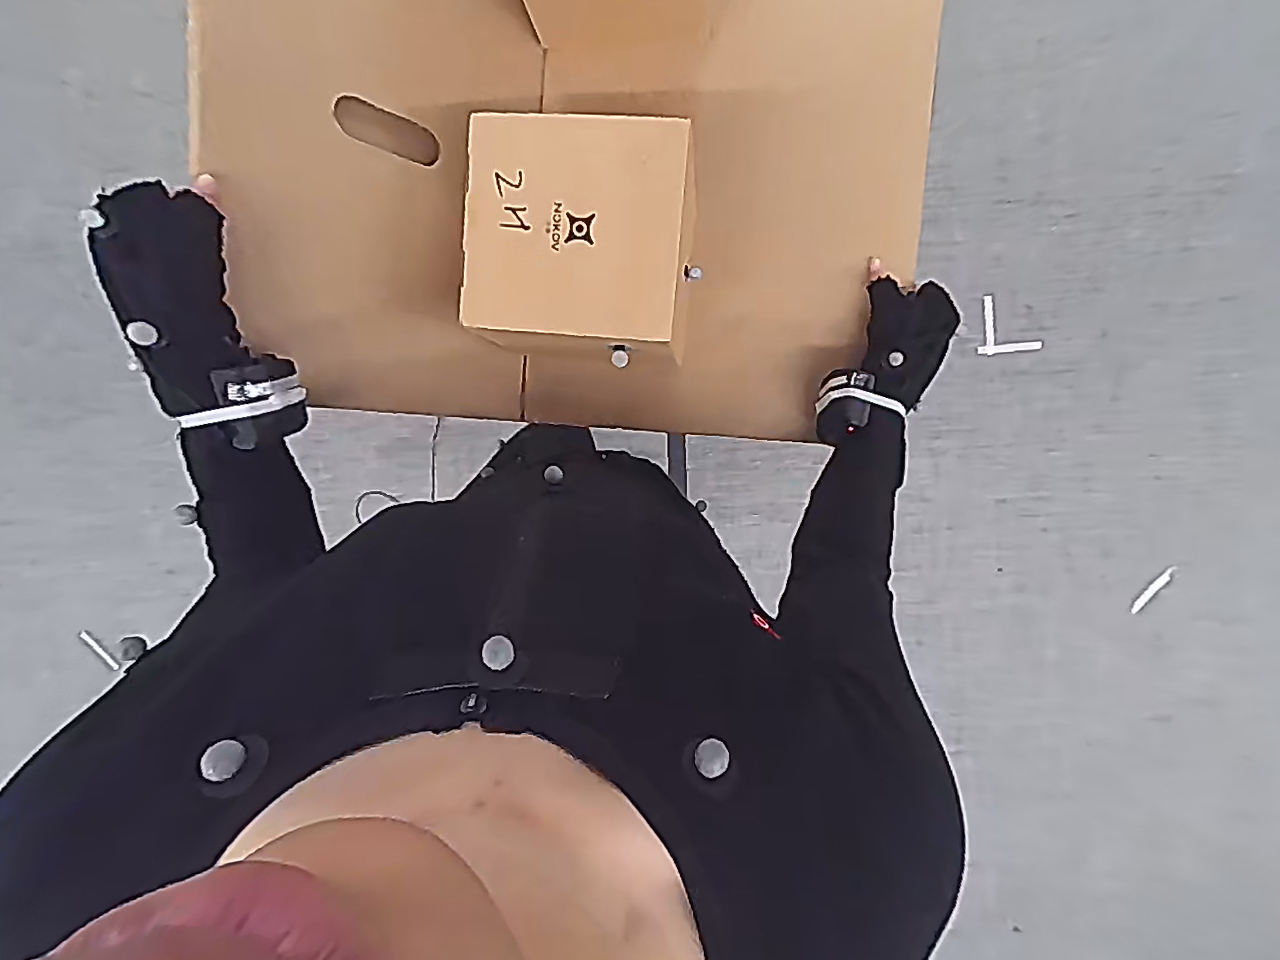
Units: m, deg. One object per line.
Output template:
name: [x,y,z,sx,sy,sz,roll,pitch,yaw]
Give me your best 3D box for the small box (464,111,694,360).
small box: [-0.044,-0.210,0.509,0.179,0.176,0.168,6,96,6]
